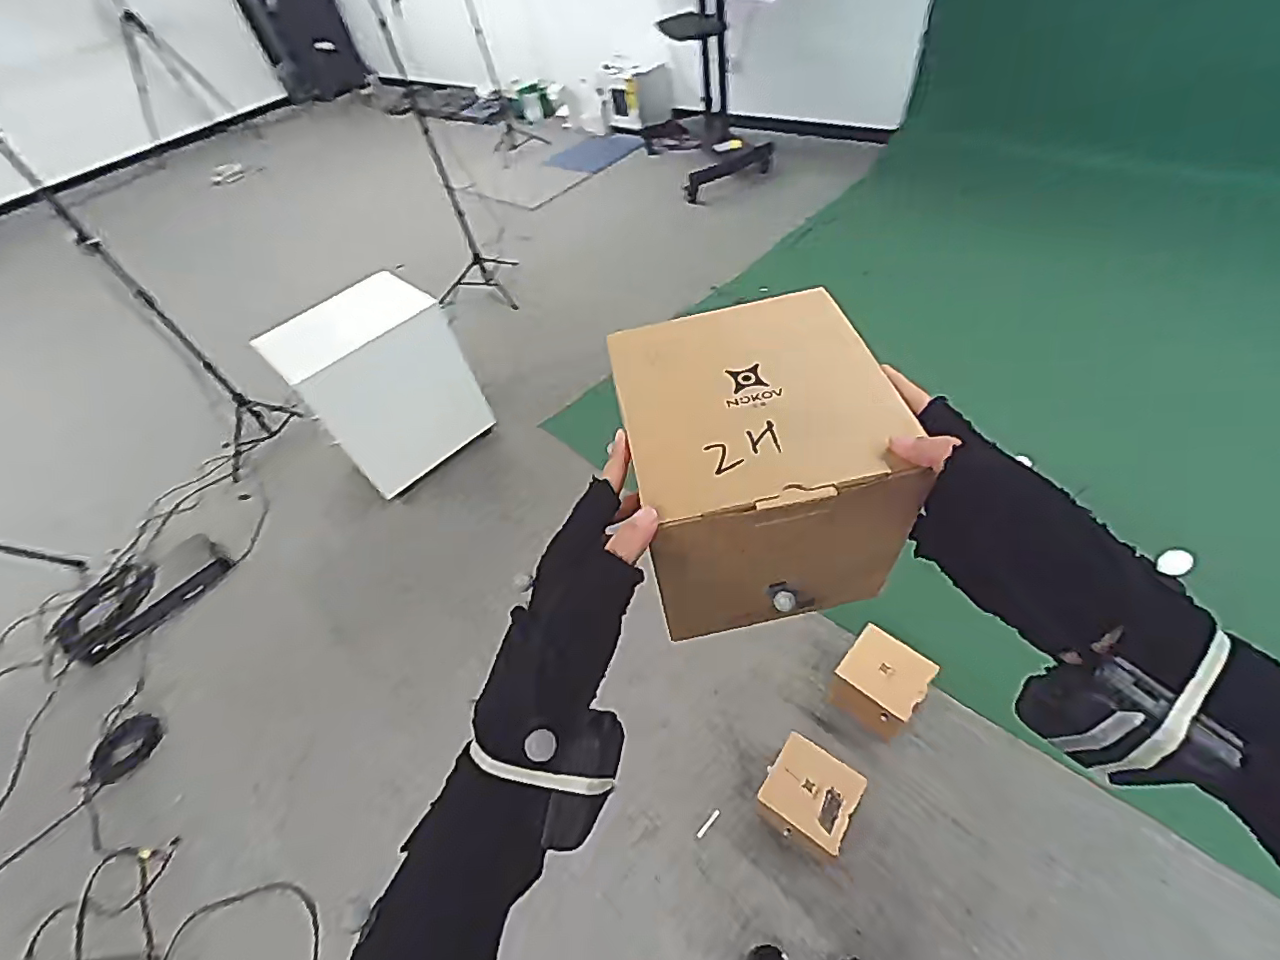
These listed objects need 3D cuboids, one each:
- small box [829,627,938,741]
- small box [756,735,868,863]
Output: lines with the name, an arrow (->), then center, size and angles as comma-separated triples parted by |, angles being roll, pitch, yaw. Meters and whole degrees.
small box -> 0.586, 0.503, 1.324 | 0.179, 0.176, 0.168 | 32, 62, 31
small box -> 0.372, 0.704, 1.188 | 0.179, 0.176, 0.168 | 26, 58, 29
